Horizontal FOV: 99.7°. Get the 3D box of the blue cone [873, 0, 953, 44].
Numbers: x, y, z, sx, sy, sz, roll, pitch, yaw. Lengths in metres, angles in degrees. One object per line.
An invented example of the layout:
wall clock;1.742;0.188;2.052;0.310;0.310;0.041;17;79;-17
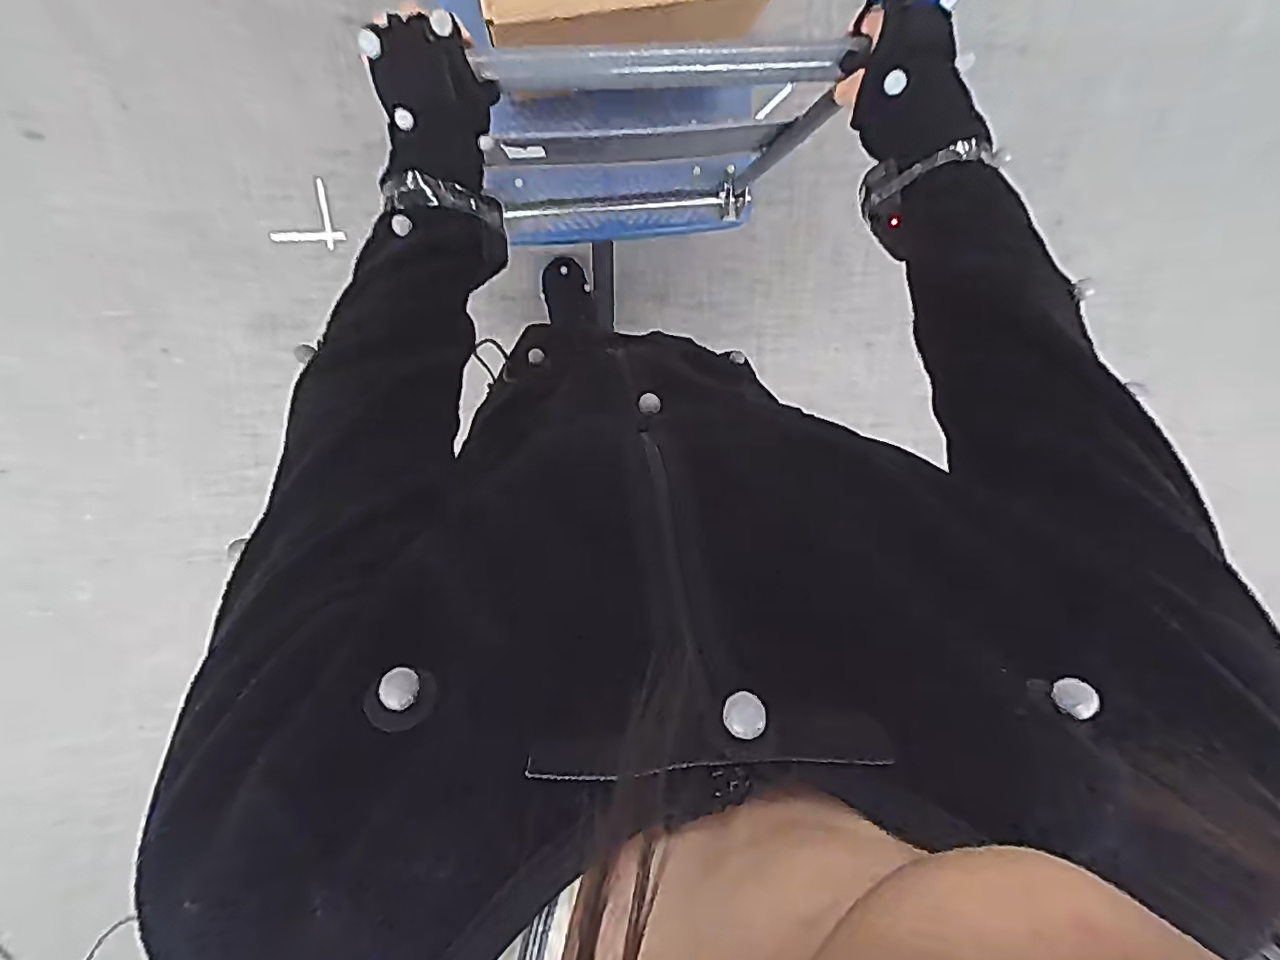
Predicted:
blue cone;0.619;-1.016;1.022;0.193;0.380;0.192;-7;108;-6
